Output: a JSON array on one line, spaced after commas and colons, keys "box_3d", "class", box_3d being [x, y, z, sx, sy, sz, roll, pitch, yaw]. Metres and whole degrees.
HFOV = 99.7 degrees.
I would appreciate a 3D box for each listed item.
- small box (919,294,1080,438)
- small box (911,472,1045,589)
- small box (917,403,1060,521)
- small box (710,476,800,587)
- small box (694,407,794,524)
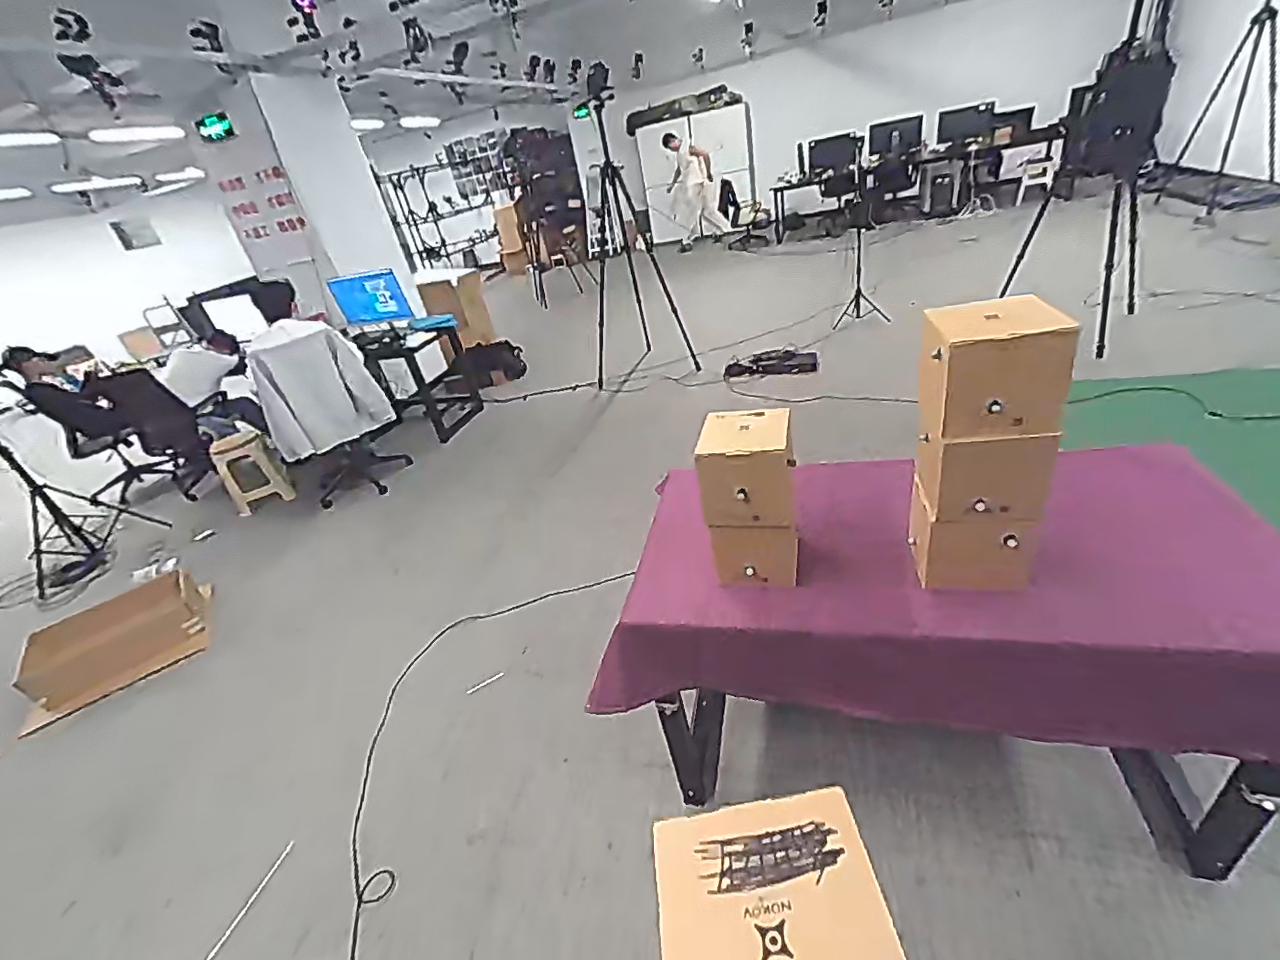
[{"box_3d": [0.563, -0.184, 0.877, 0.168, 0.176, 0.179, -5, 32, 15], "class": "small box"}, {"box_3d": [0.630, 0.093, 1.034, 0.179, 0.176, 0.168, -3, 32, 18], "class": "small box"}, {"box_3d": [0.597, -0.045, 0.954, 0.168, 0.176, 0.179, -4, 33, 17], "class": "small box"}, {"box_3d": [0.252, 0.107, 1.161, 0.168, 0.176, 0.179, -2, 33, 19], "class": "small box"}, {"box_3d": [0.214, -0.026, 1.072, 0.168, 0.176, 0.179, -1, 34, 19], "class": "small box"}]
